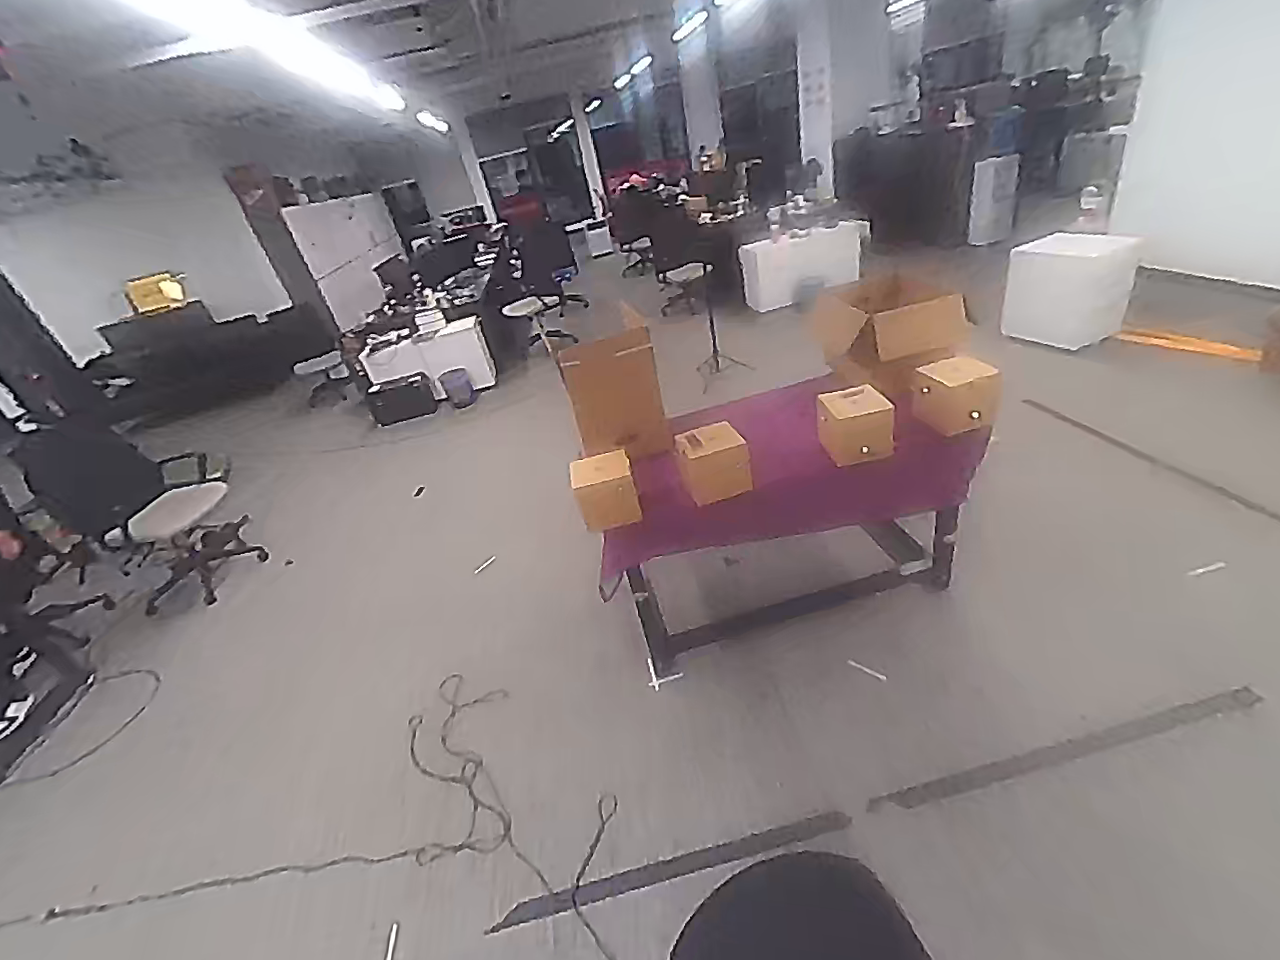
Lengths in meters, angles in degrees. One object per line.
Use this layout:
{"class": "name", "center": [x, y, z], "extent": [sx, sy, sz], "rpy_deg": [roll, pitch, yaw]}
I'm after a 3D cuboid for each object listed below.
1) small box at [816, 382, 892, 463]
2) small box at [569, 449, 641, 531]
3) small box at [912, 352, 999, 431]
{"class": "small box", "center": [0.649, -0.176, 1.655], "extent": [0.168, 0.176, 0.179], "rpy_deg": [-13, 33, 3]}
{"class": "small box", "center": [-0.106, 0.032, 1.638], "extent": [0.179, 0.176, 0.168], "rpy_deg": [-14, 31, -2]}
{"class": "small box", "center": [0.967, -0.274, 1.675], "extent": [0.168, 0.176, 0.179], "rpy_deg": [-17, 32, -2]}
